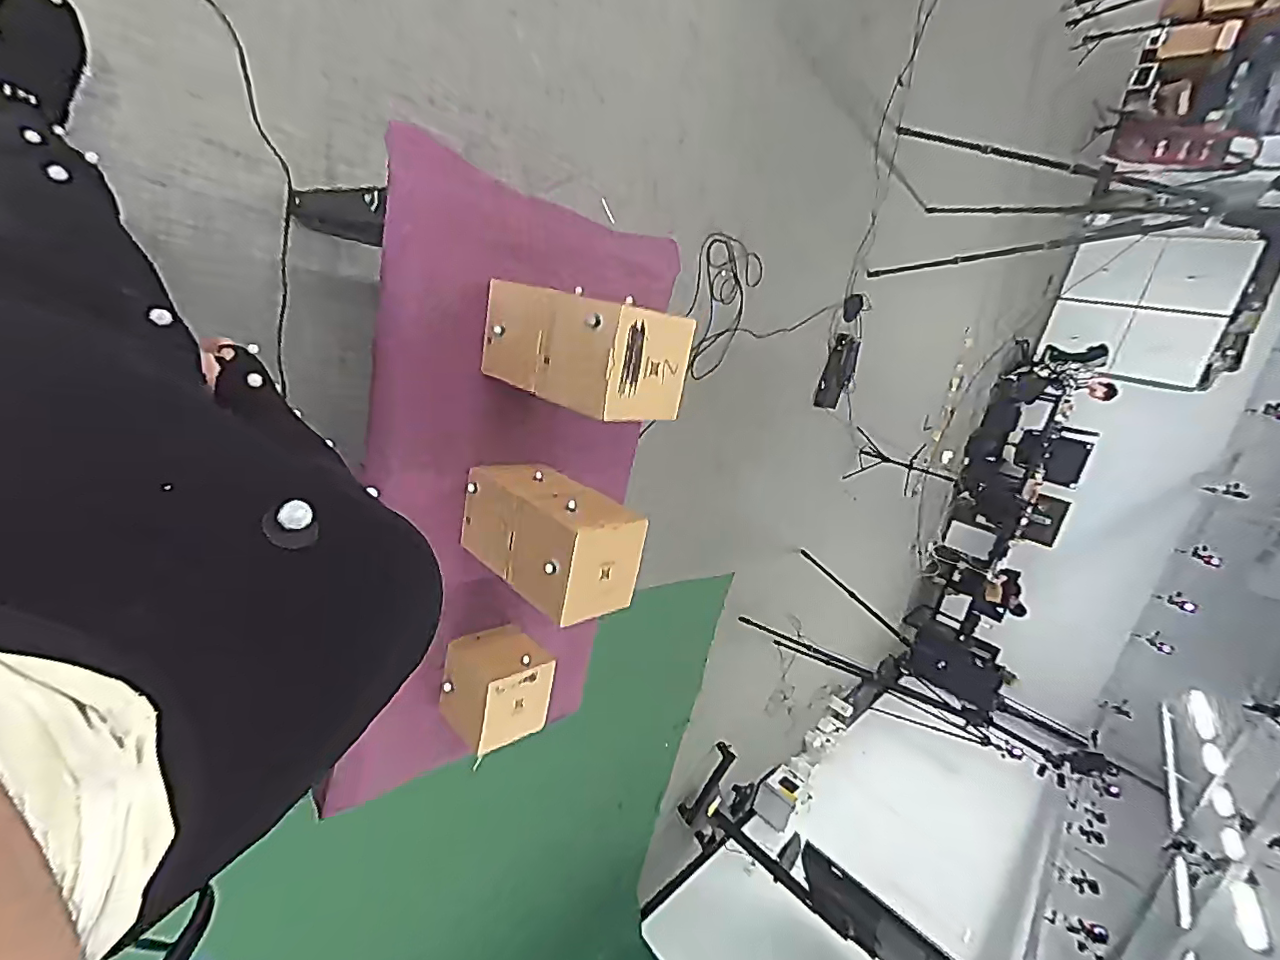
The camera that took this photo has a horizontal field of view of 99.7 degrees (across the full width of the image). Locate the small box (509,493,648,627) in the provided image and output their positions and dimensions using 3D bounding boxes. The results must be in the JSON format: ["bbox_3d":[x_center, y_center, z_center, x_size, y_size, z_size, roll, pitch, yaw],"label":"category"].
[{"bbox_3d":[-0.114,0.128,0.962,0.168,0.176,0.179,-4,113,-46],"label":"small box"}]

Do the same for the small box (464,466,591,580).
[{"bbox_3d":[-0.226,0.075,1.067,0.179,0.176,0.168,-6,113,-47],"label":"small box"}]

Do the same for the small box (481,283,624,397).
[{"bbox_3d":[-0.159,-0.251,0.973,0.179,0.176,0.168,-6,113,-46],"label":"small box"}]

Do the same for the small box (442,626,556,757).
[{"bbox_3d":[-0.308,0.444,1.165,0.168,0.176,0.179,-3,111,-48],"label":"small box"}]
